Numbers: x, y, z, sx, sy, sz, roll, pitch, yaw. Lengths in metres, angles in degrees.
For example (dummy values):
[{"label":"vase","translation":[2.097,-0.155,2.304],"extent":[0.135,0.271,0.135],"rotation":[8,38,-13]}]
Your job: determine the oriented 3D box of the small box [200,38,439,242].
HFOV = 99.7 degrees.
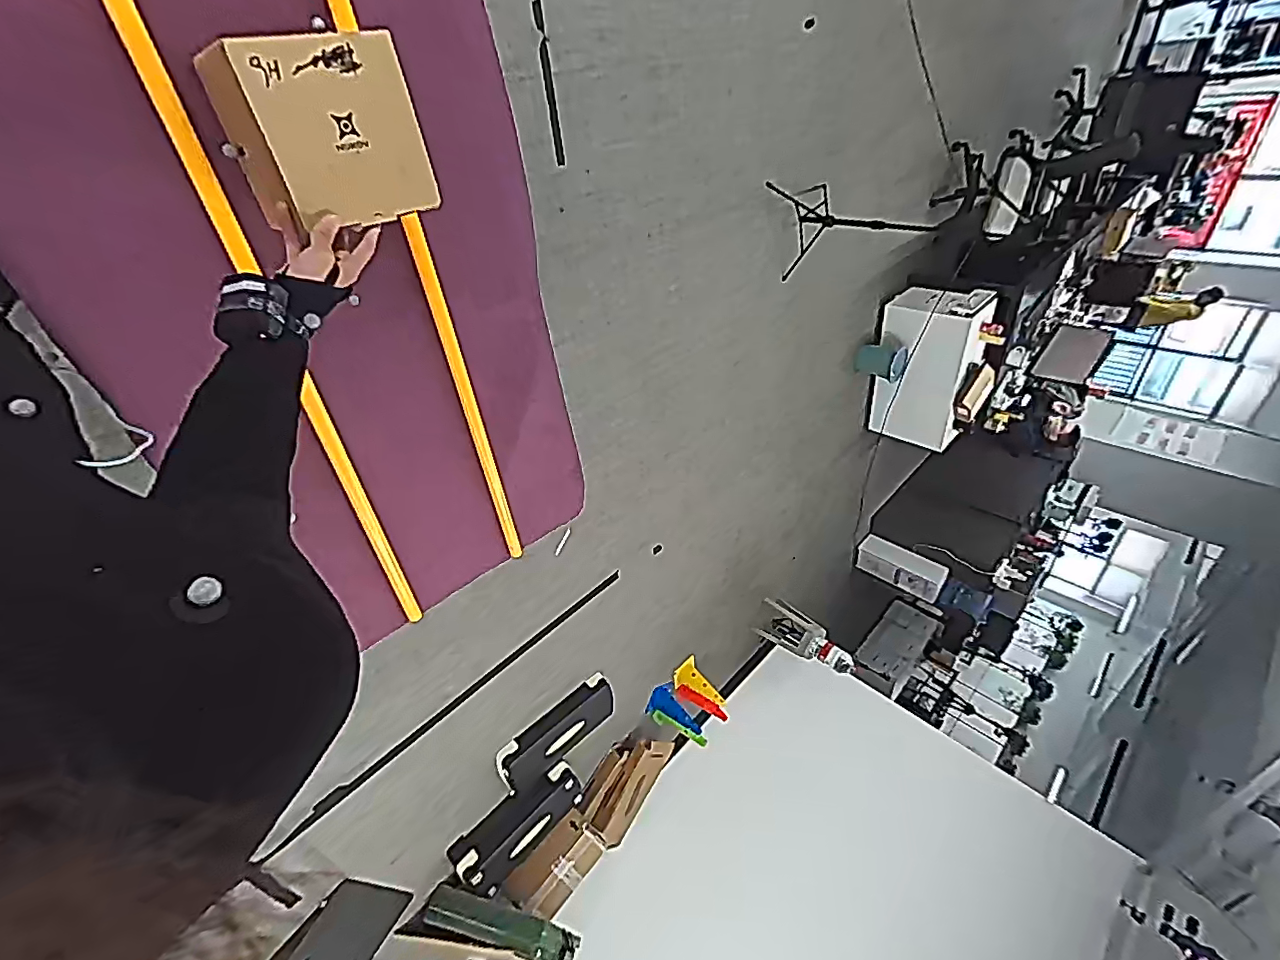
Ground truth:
[{"label":"small box","translation":[-0.374,-0.402,0.641],"extent":[0.168,0.176,0.179],"rotation":[-34,134,-31]}]
